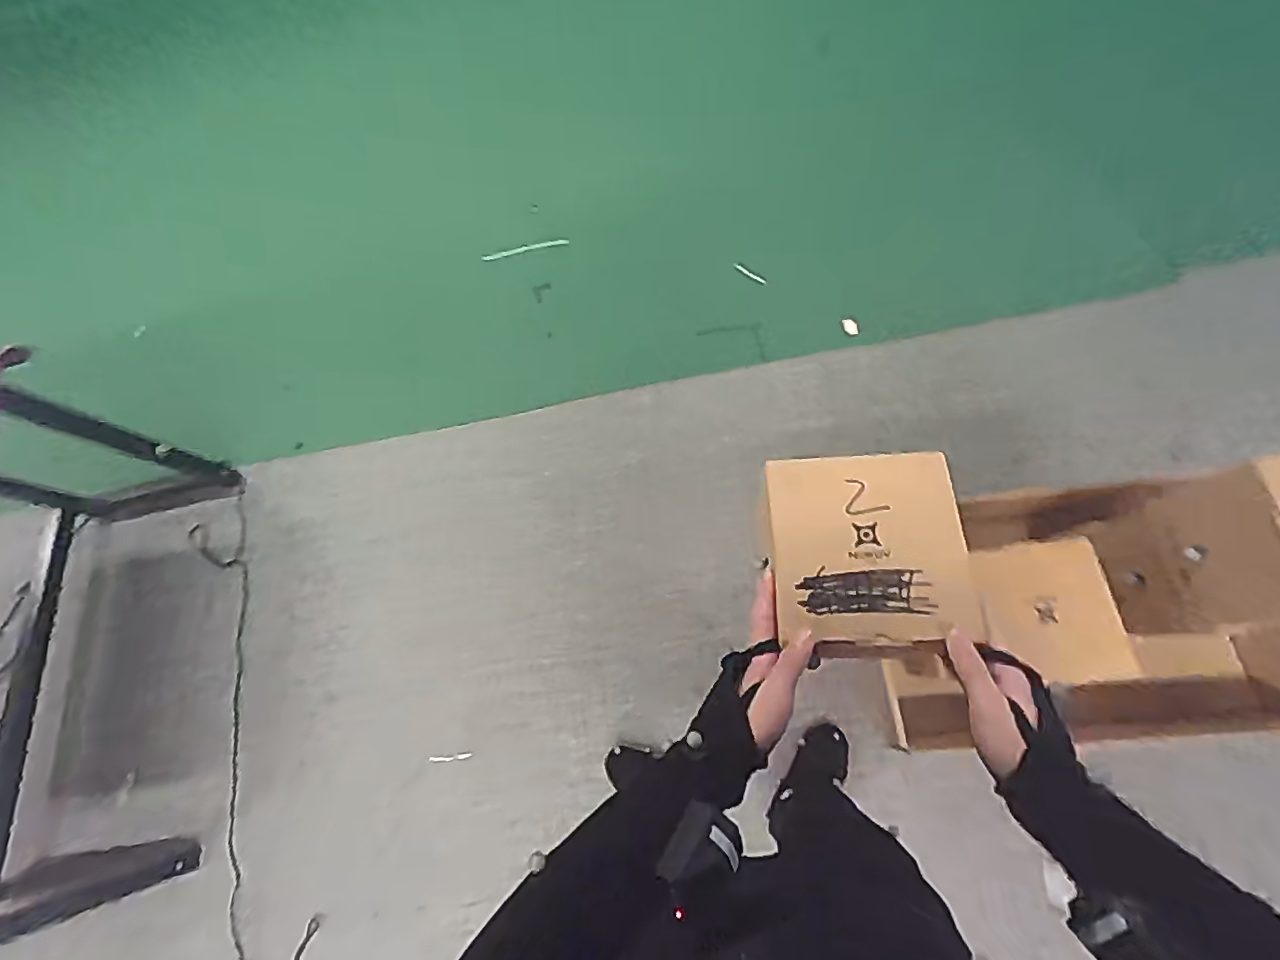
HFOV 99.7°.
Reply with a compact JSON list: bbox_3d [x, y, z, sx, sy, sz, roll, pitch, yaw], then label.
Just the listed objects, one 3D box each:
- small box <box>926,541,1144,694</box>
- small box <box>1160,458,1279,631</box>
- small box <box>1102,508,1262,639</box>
[{"bbox_3d":[0.531,0.195,0.759,0.168,0.176,0.179,-9,71,7],"label":"small box"},{"bbox_3d":[0.739,0.072,0.584,0.179,0.176,0.168,-6,70,10],"label":"small box"},{"bbox_3d":[0.786,0.119,0.736,0.179,0.176,0.168,-13,71,8],"label":"small box"}]
